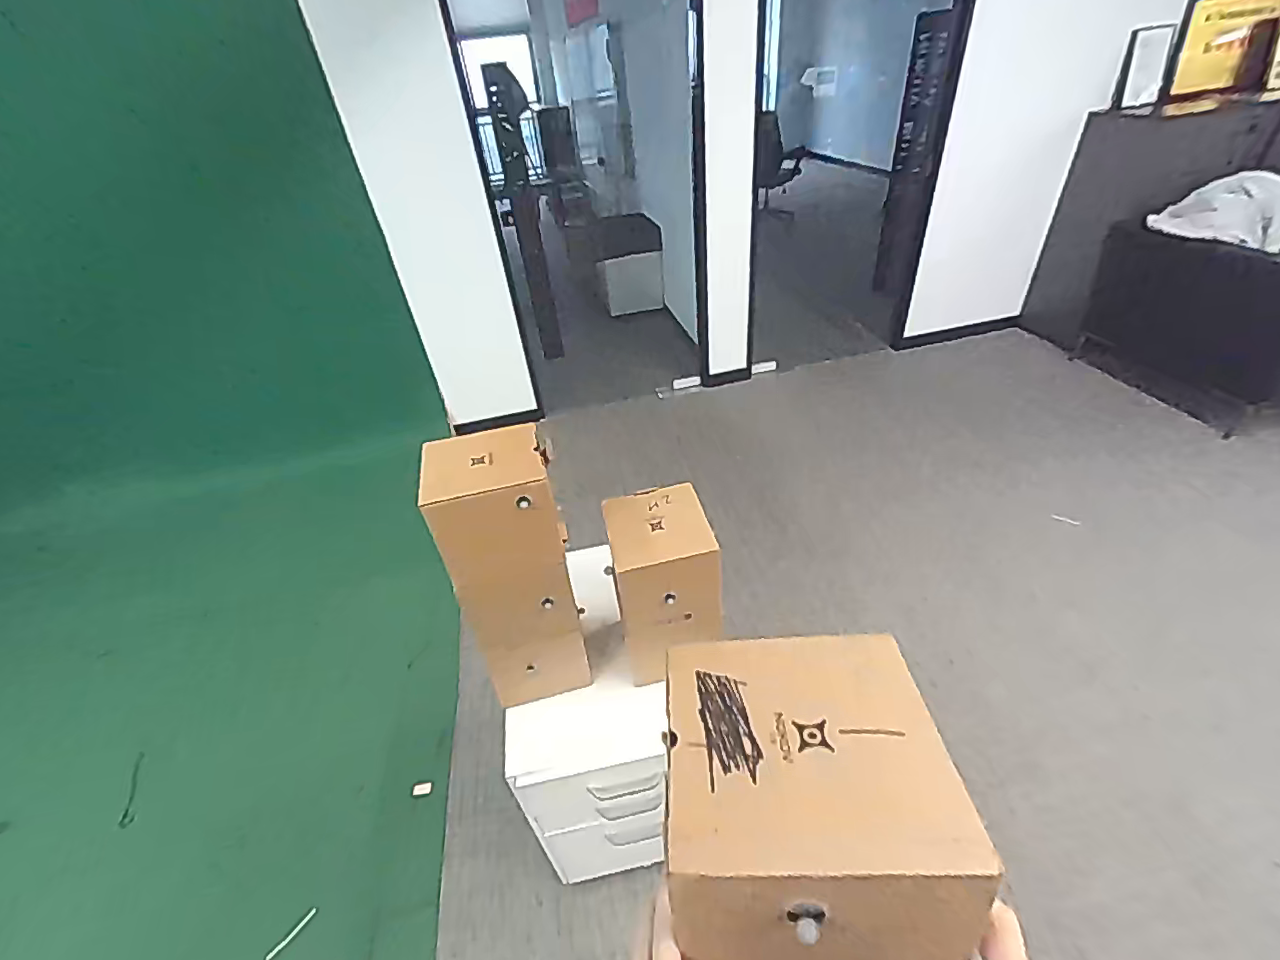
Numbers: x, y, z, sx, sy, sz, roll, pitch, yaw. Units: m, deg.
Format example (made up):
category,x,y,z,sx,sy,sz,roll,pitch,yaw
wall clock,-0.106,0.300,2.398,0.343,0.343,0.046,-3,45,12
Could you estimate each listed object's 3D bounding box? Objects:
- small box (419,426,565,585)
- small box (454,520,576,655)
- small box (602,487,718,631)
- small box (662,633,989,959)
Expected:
category,x,y,z,sx,sy,sz,roll,pitch,yaw
small box,-0.225,0.040,0.840,0.179,0.176,0.168,-12,37,-11
small box,-0.212,0.172,0.935,0.179,0.176,0.168,-13,37,-10
small box,0.035,0.141,0.936,0.168,0.176,0.179,-11,38,-5
small box,0.112,0.235,0.397,0.179,0.176,0.168,-4,30,5
